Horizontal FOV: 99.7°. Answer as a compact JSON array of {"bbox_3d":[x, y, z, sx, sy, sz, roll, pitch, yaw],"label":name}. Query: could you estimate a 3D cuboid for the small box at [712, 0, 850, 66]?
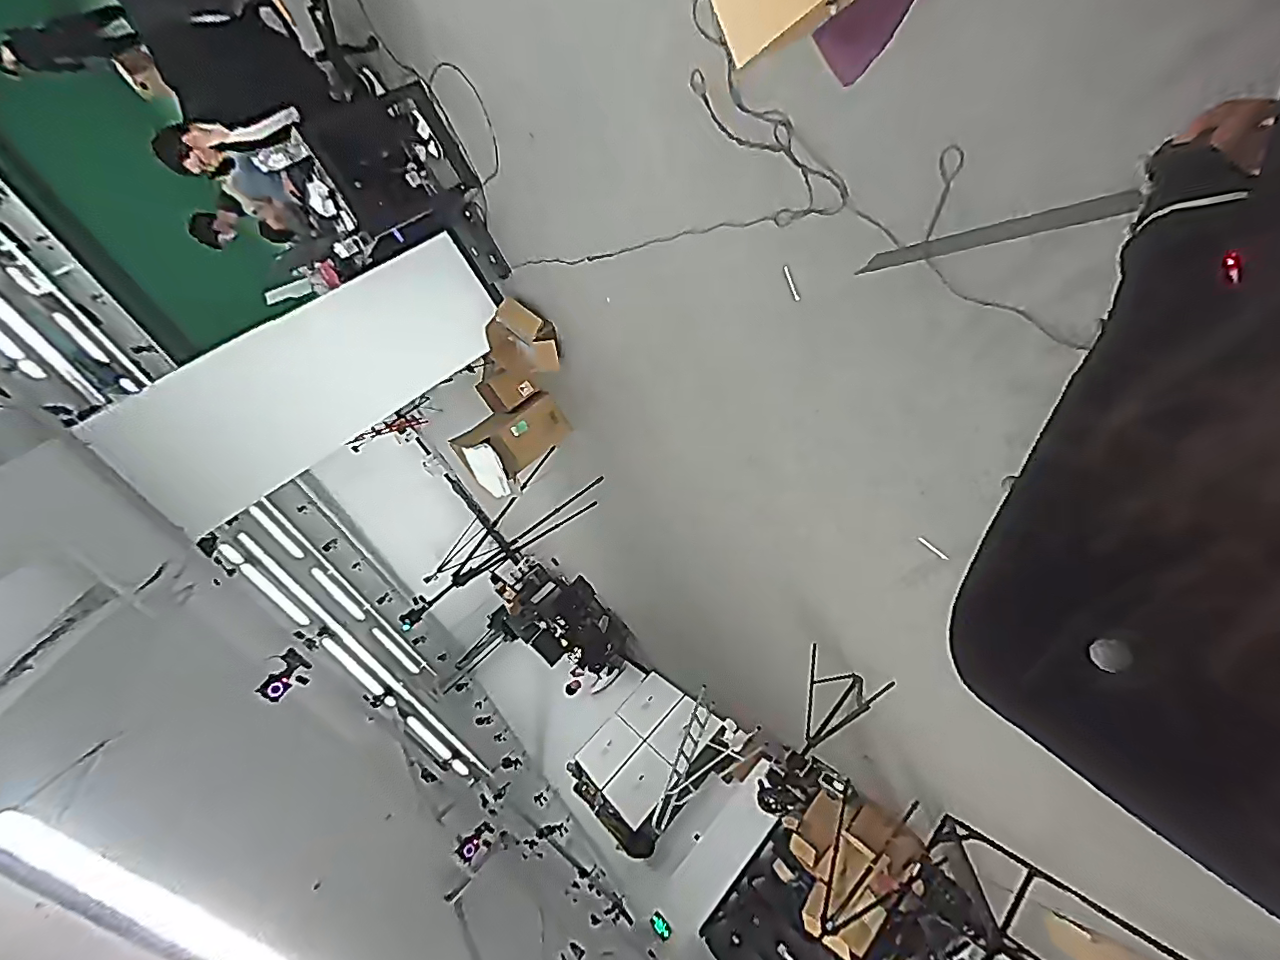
[{"bbox_3d":[0.195,-0.662,0.660,0.179,0.176,0.168,7,134,57],"label":"small box"}]
